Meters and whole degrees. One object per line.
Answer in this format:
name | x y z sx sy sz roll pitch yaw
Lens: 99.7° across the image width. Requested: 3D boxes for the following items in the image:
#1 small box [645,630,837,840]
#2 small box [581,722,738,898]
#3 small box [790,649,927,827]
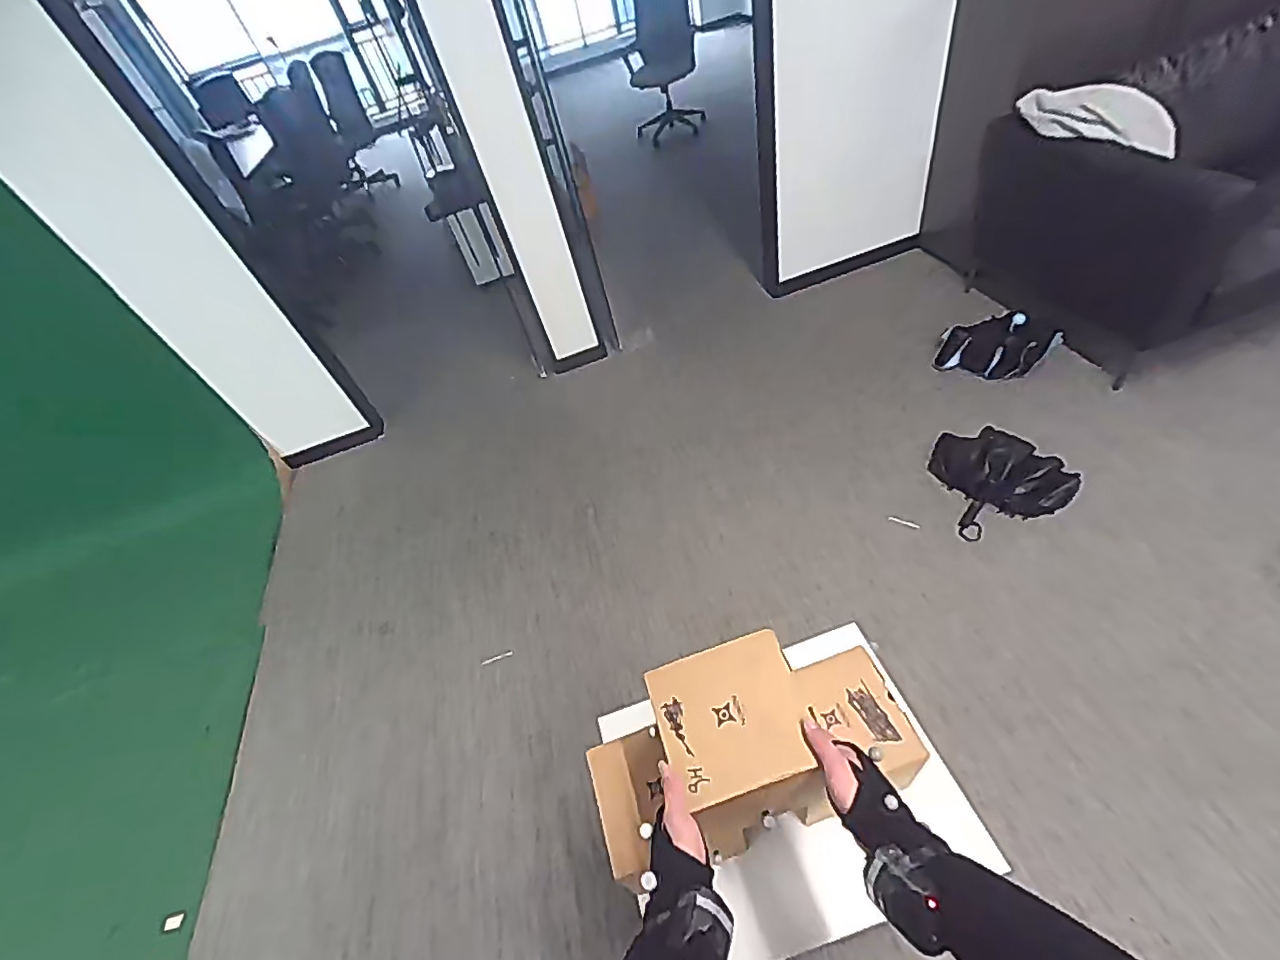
small box | 0.119 0.320 0.674 0.179 0.176 0.168 -17 46 -3
small box | 0.031 0.469 0.782 0.179 0.176 0.168 -20 45 -5
small box | 0.282 0.384 0.801 0.179 0.176 0.168 -19 46 -3
